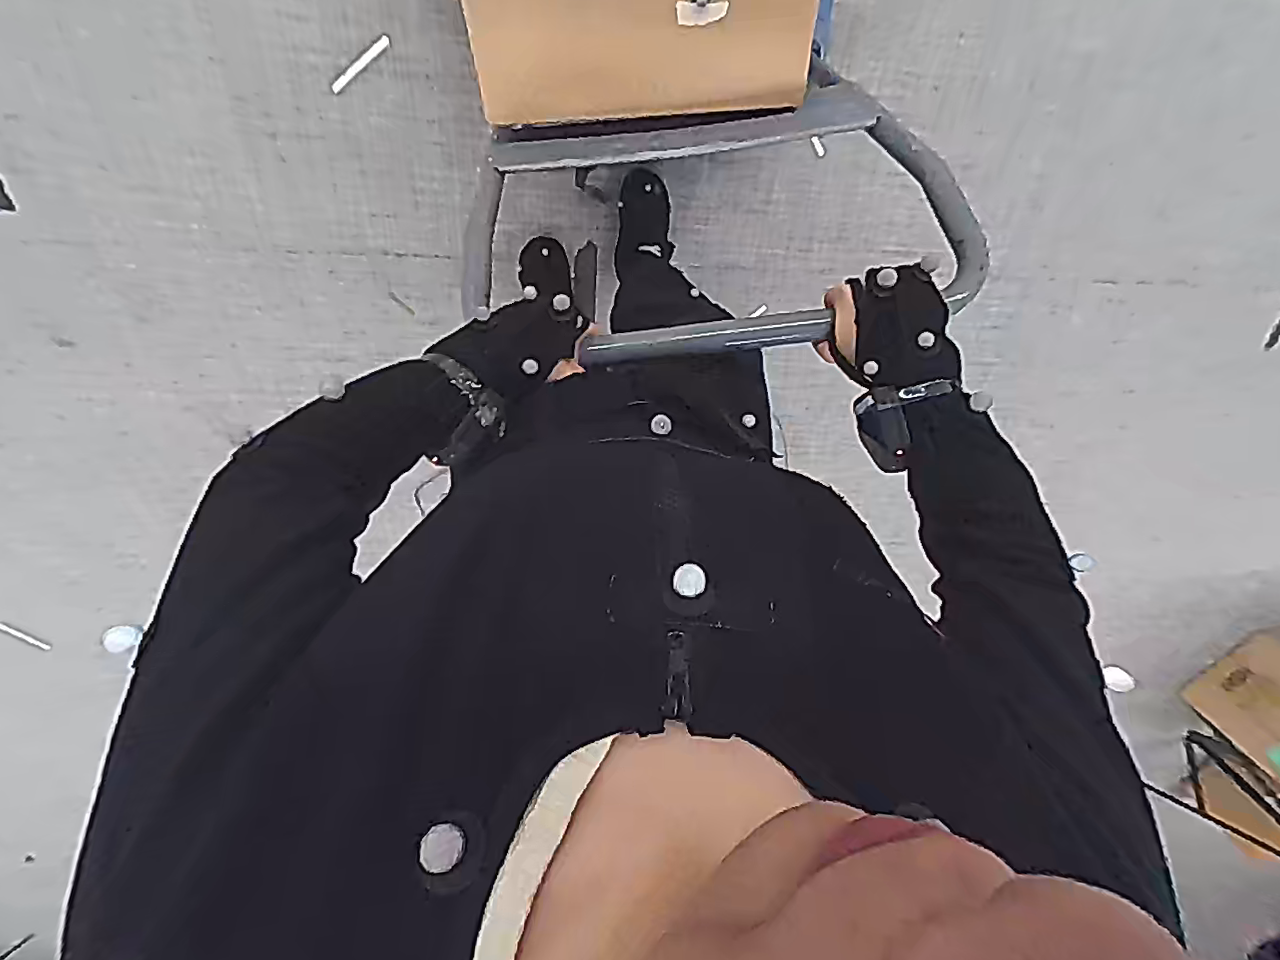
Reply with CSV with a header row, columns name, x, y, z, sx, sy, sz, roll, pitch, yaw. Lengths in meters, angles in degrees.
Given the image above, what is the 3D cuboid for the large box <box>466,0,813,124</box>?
name,x,y,z,sx,sy,sz,roll,pitch,yaw
large box,-0.015,-0.682,0.682,0.408,0.320,0.320,-6,136,-2
